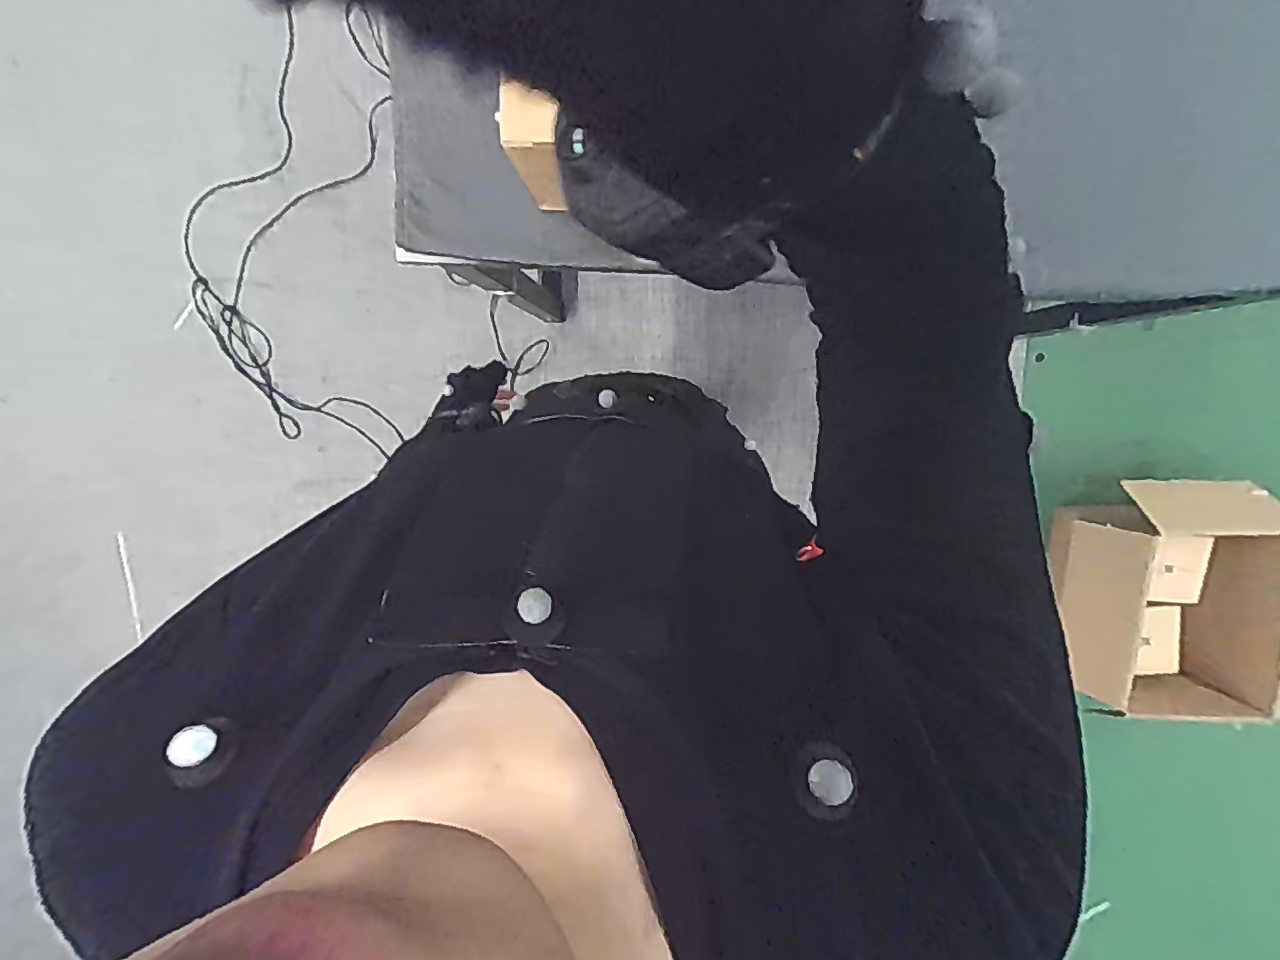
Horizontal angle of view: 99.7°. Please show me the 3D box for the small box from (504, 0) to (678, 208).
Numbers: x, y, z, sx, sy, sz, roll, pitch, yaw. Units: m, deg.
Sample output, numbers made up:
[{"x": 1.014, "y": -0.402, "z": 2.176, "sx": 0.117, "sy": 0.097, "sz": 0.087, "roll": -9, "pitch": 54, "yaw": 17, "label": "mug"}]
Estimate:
[{"x": -0.045, "y": -0.422, "z": 0.591, "sx": 0.168, "sy": 0.176, "sz": 0.179, "roll": 1, "pitch": 98, "yaw": 2, "label": "small box"}]
